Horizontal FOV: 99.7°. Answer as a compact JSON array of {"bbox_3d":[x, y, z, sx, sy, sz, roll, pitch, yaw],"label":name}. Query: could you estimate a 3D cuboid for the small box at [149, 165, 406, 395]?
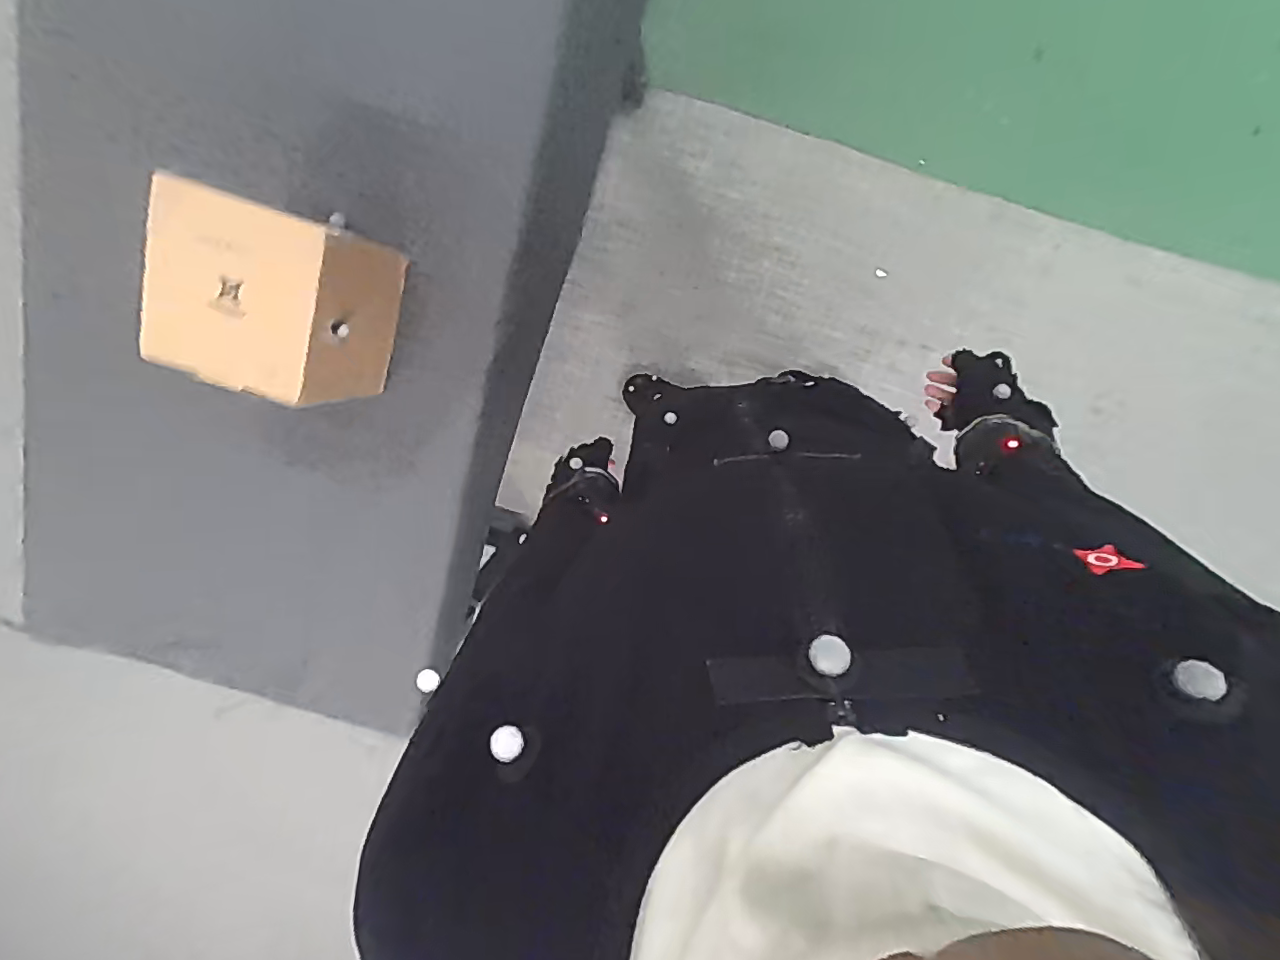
[{"bbox_3d":[-0.386,-0.208,0.601,0.168,0.176,0.179,18,104,-1],"label":"small box"}]
